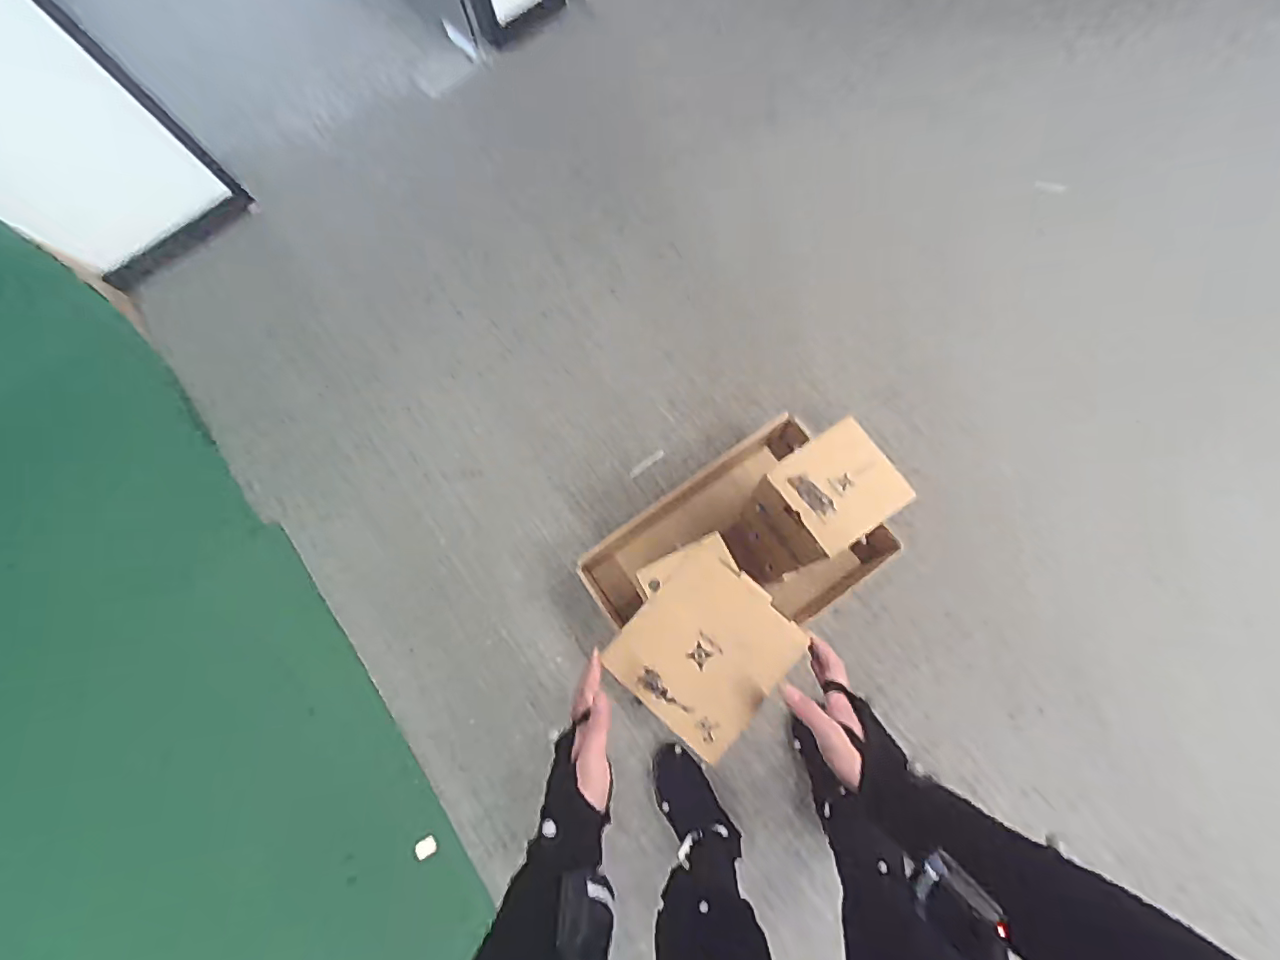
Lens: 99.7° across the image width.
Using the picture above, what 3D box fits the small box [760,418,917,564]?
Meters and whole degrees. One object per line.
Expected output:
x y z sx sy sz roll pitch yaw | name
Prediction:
0.322 0.029 0.926 0.179 0.176 0.168 -34 77 -5 | small box

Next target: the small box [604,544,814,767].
0.076 0.203 0.664 0.168 0.176 0.179 40 82 10 | small box
